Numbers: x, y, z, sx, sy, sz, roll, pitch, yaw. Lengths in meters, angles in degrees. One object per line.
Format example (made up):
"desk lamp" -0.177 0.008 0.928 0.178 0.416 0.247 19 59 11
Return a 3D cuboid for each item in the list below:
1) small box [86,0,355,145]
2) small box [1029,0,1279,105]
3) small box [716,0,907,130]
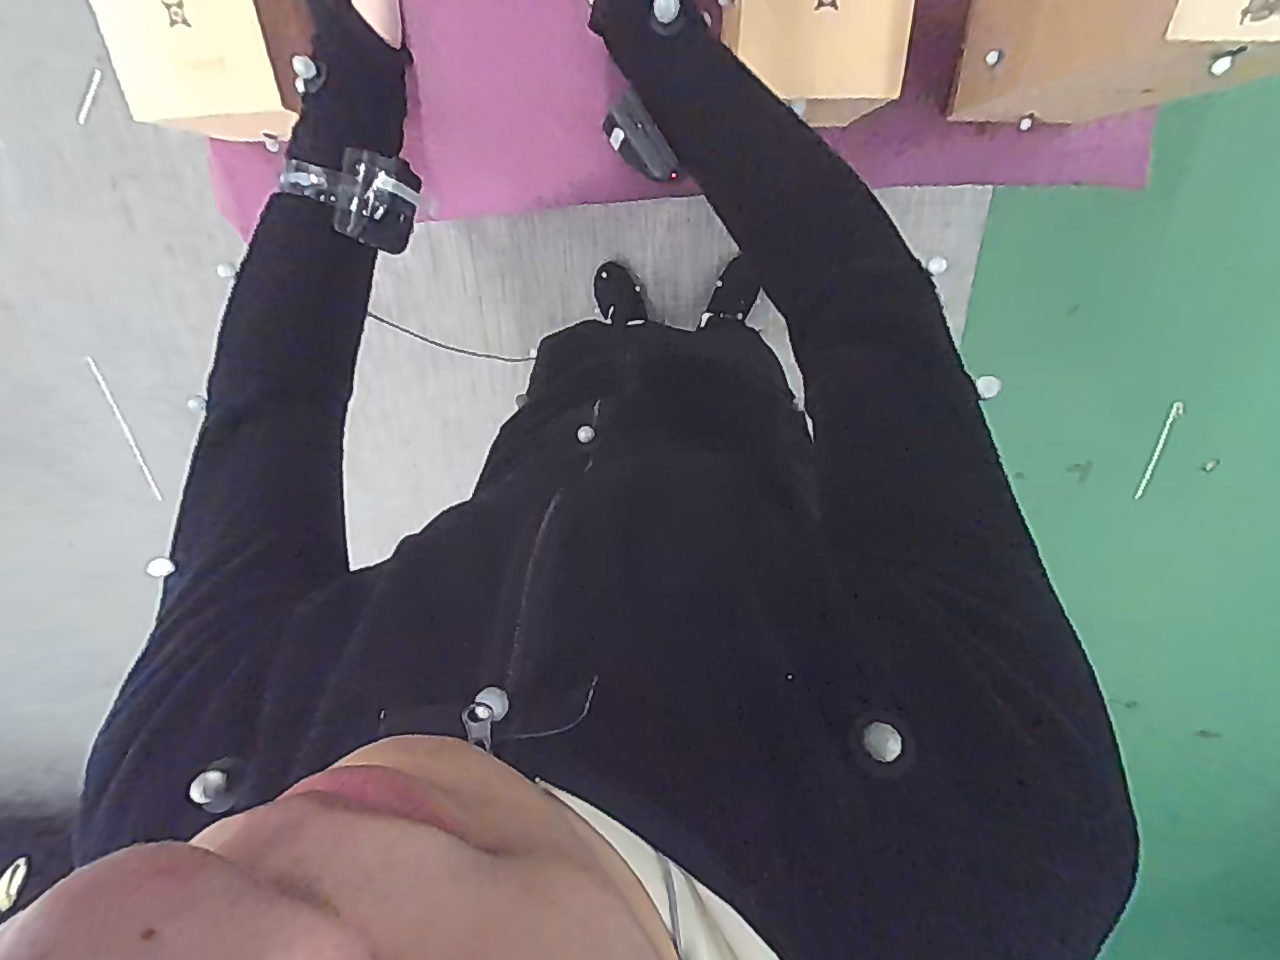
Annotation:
"small box" -0.452 -0.489 0.599 0.168 0.176 0.179 -2 115 3
"small box" 0.453 -0.420 0.423 0.168 0.176 0.179 2 114 2
"small box" 0.174 -0.491 0.583 0.168 0.176 0.179 0 114 2
